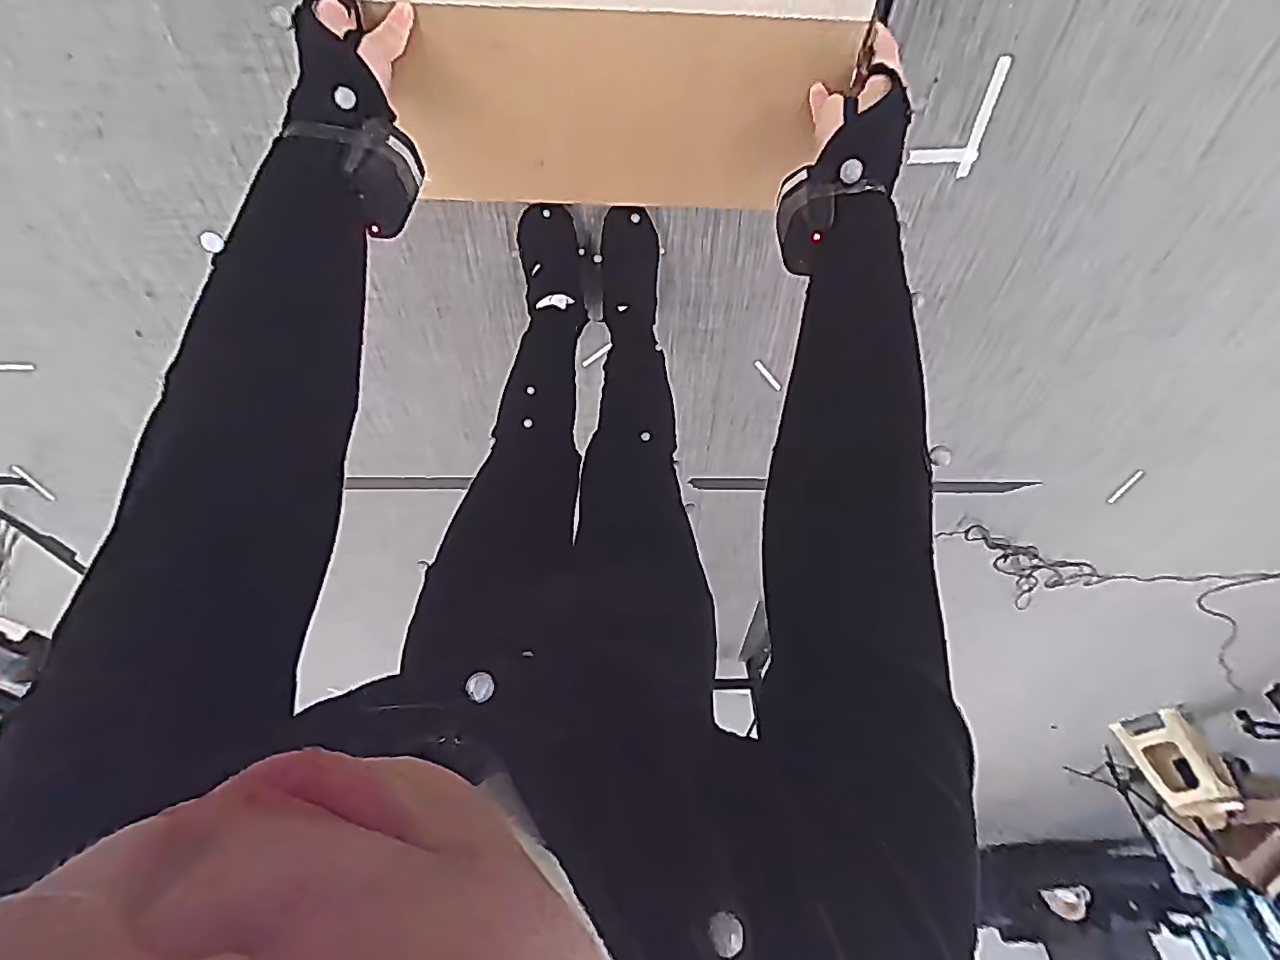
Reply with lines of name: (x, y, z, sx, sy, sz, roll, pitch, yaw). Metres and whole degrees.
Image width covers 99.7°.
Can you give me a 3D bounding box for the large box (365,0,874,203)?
large box: (-0.014, -0.487, 0.513, 0.408, 0.320, 0.320, 1, 136, -1)
